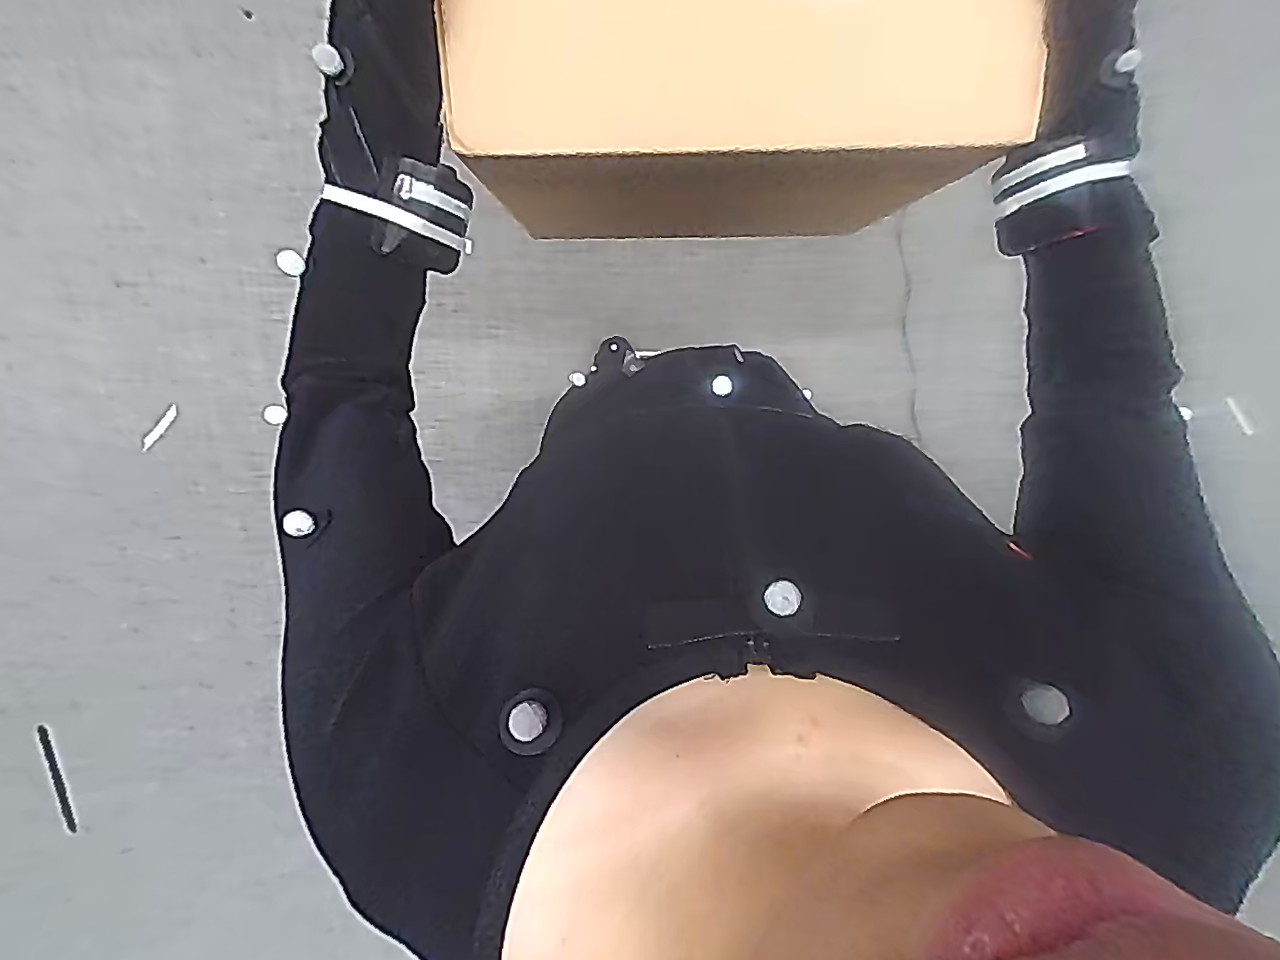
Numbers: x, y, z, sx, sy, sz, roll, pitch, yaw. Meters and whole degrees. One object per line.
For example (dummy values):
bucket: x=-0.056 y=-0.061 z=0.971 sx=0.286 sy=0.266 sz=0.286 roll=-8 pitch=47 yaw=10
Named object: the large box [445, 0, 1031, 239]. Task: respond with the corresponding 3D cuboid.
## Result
large box: x=0.060 y=-0.421 z=0.493 sx=0.408 sy=0.320 sz=0.320 roll=-2 pitch=104 yaw=-1
